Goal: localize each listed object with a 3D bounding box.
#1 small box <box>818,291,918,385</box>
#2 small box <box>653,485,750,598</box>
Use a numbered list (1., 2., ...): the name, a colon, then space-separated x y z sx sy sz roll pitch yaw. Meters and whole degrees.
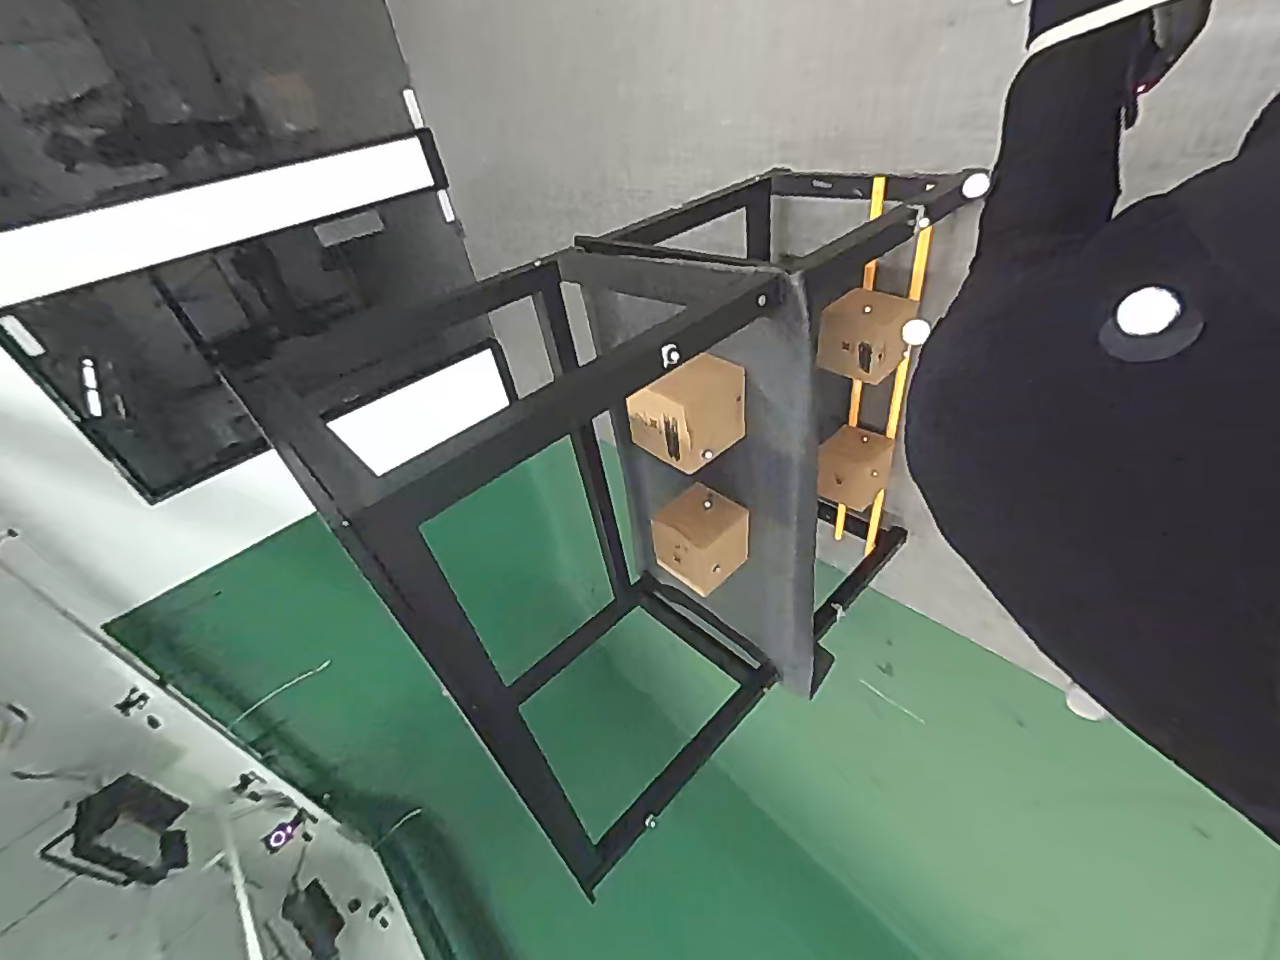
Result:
1. small box: 0.593 -0.376 1.409 0.179 0.176 0.168 31 143 36
2. small box: 0.153 0.145 1.321 0.168 0.176 0.179 31 144 37
